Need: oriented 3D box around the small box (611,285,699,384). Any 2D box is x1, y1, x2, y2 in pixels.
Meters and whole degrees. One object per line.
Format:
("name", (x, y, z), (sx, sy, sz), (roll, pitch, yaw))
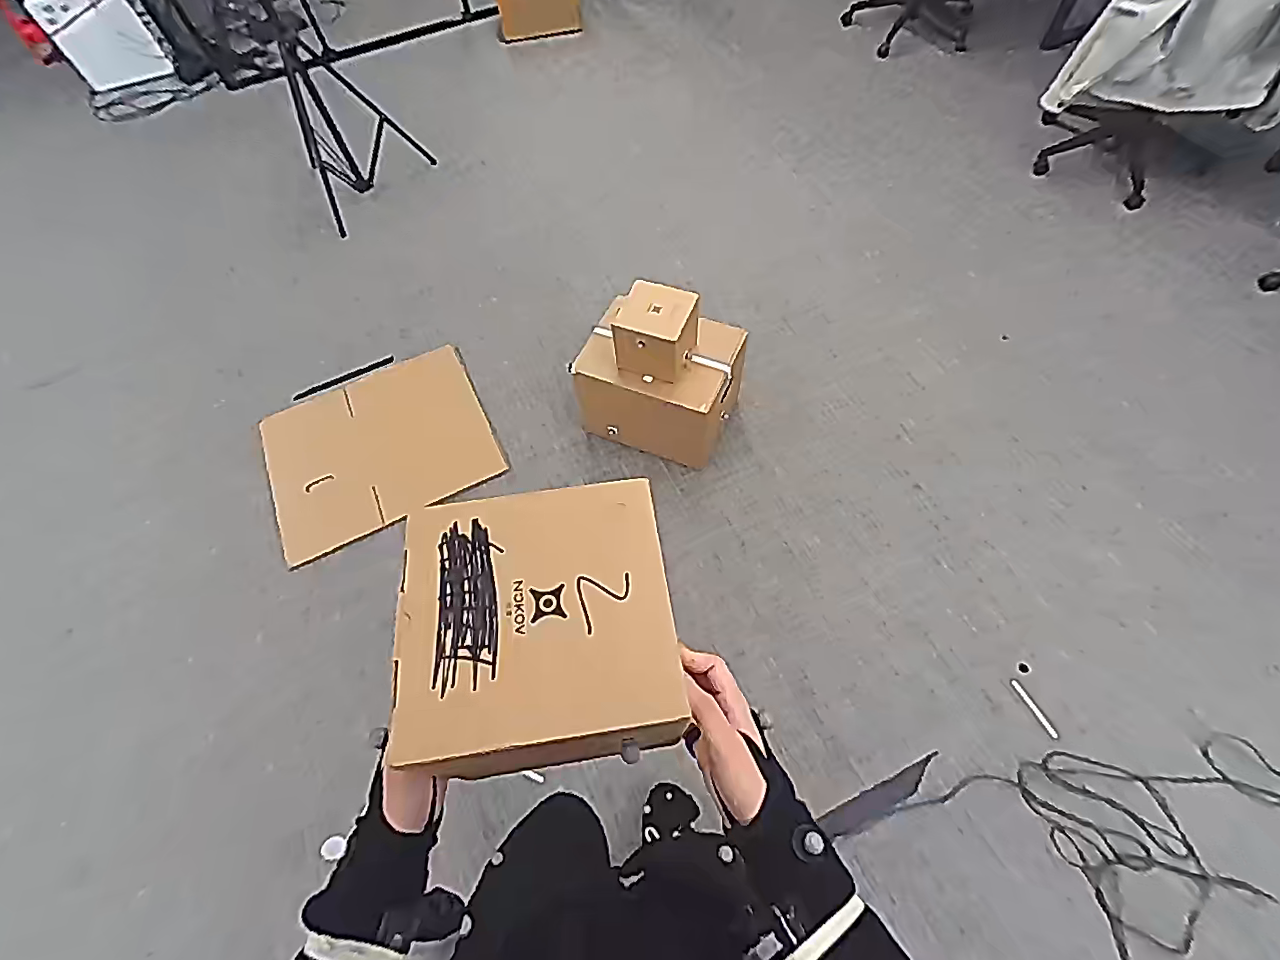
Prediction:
("small box", (0.043, -0.375, 1.412), (0.179, 0.176, 0.168), (18, 66, 13))
